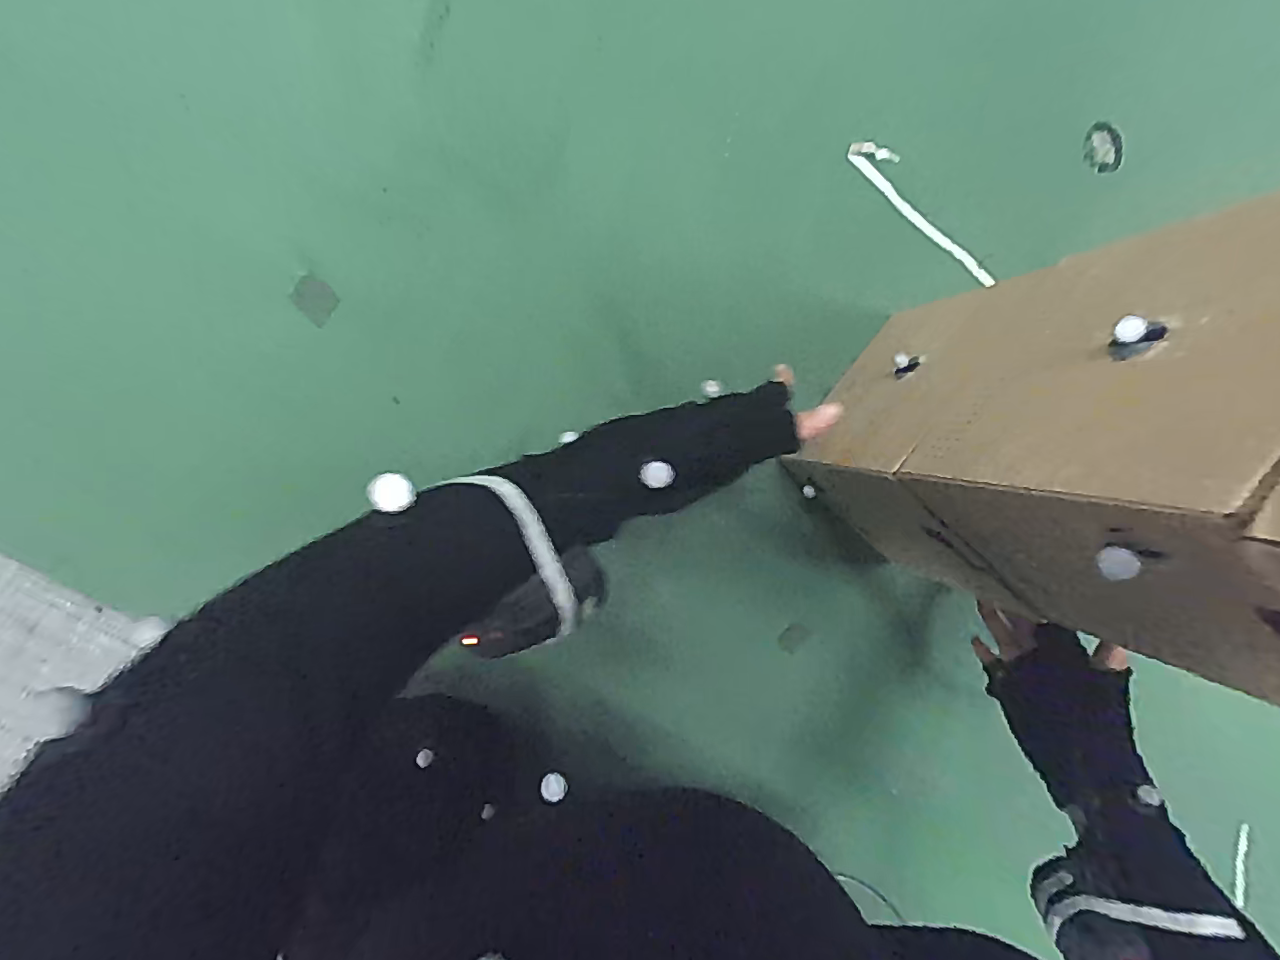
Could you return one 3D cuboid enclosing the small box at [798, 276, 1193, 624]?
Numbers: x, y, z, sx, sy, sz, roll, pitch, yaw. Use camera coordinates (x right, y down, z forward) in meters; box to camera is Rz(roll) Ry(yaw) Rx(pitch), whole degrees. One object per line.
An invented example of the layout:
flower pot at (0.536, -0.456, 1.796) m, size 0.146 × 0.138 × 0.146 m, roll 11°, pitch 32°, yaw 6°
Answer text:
small box at (0.255, -0.024, 0.435) m, size 0.168 × 0.176 × 0.179 m, roll 37°, pitch 90°, yaw -13°
